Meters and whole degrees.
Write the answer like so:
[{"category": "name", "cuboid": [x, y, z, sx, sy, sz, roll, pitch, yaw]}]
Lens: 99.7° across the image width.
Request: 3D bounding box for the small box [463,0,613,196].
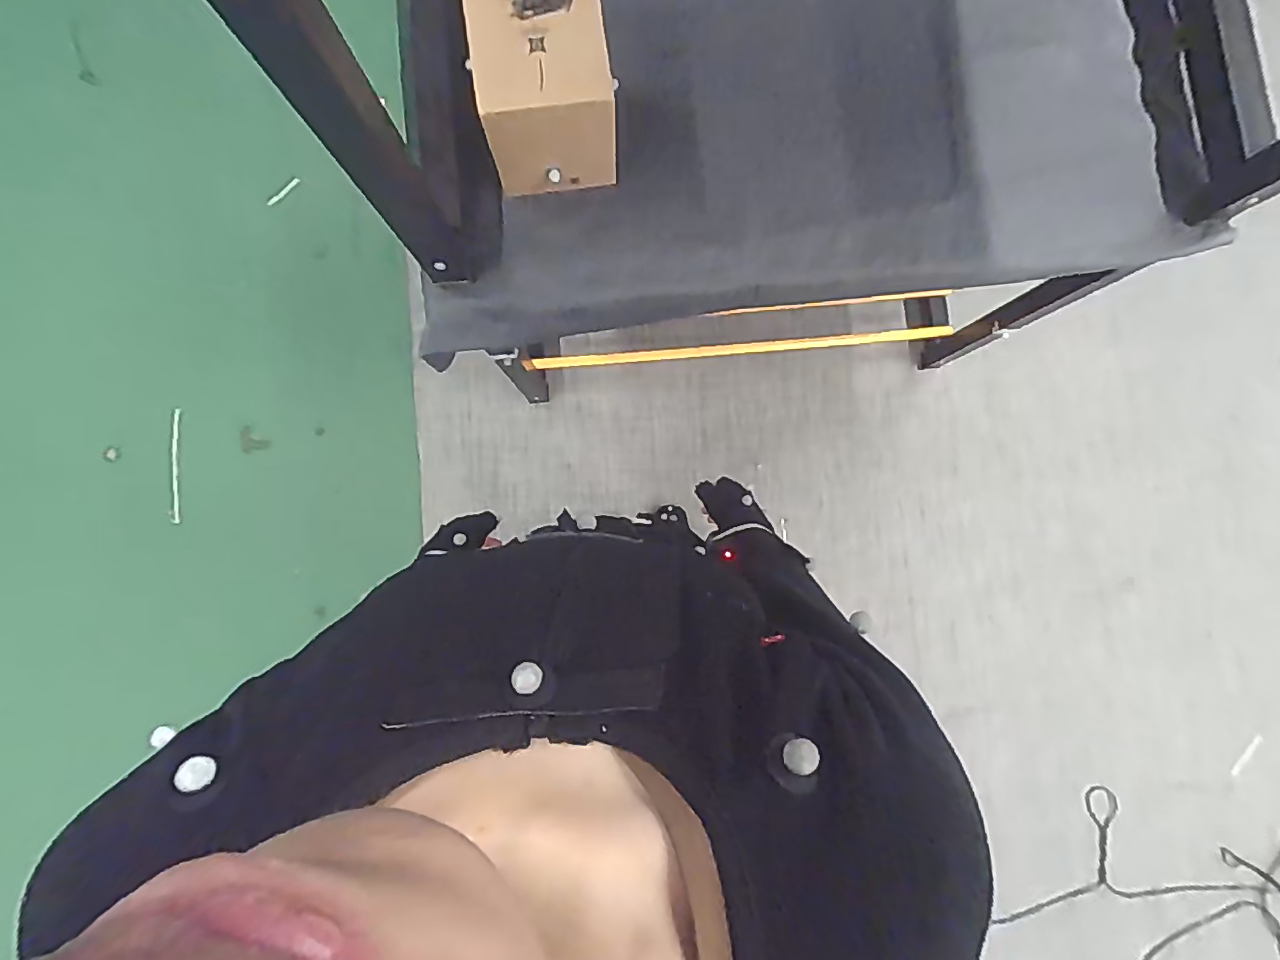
[{"category": "small box", "cuboid": [-0.128, -0.518, 0.726, 0.168, 0.176, 0.179, -8, 86, -2]}]
